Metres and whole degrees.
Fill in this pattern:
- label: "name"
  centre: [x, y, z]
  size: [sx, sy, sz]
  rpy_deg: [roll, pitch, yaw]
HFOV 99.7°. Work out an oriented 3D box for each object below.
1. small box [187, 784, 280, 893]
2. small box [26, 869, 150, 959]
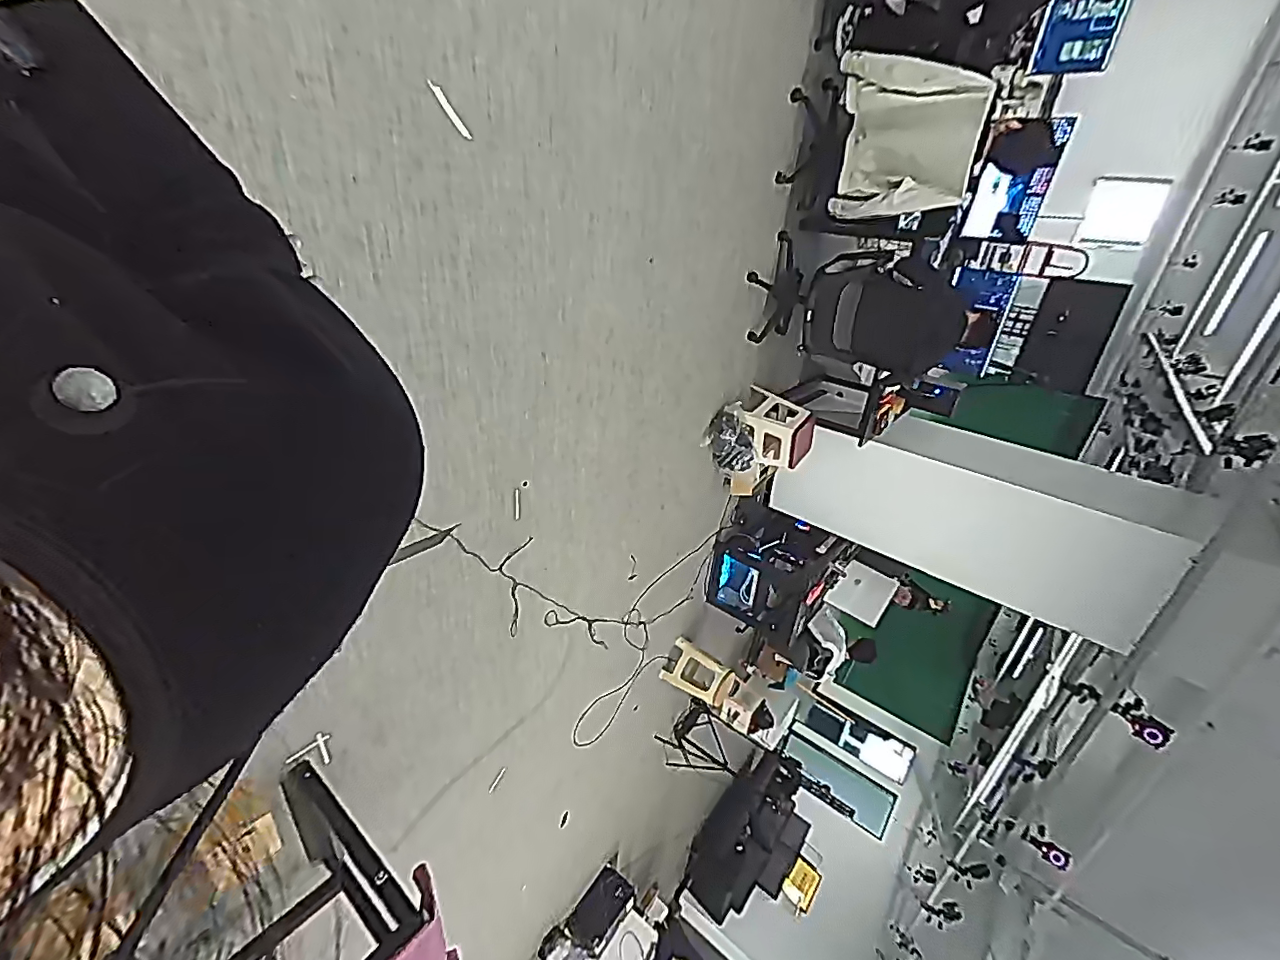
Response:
- label: "small box"
  centre: [-1.207, 1.056, 1.608]
  size: [0.168, 0.176, 0.179]
  rpy_deg: [-25, 131, -48]
- label: "small box"
  centre: [-1.401, 1.149, 1.375]
  size: [0.168, 0.176, 0.179]
  rpy_deg: [-28, 131, -46]
